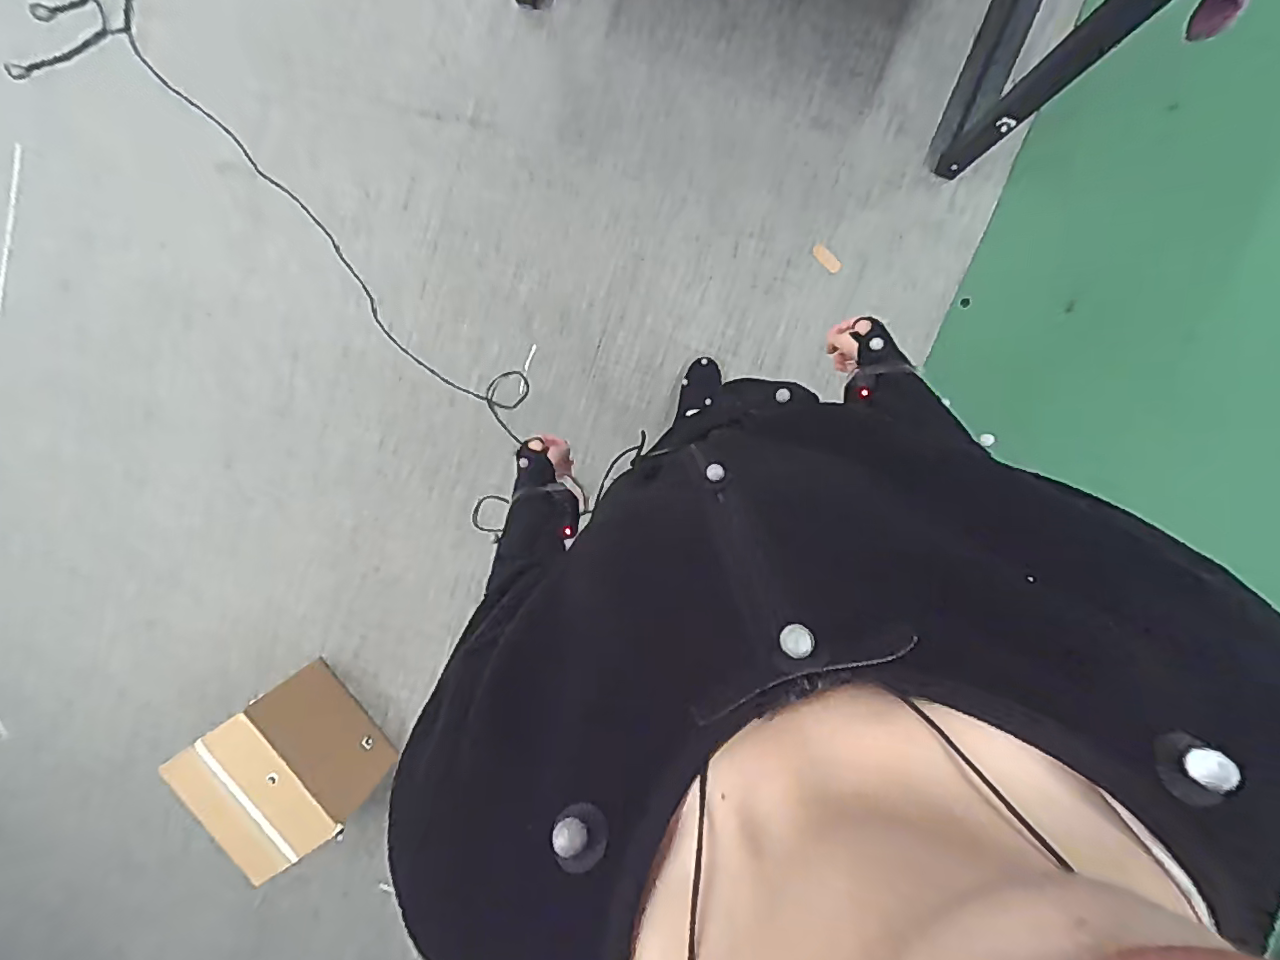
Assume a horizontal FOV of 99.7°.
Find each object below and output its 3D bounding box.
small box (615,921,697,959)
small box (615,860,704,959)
[{"bbox_3d":[0.023,1.055,1.096,0.168,0.176,0.179,12,98,2],"label":"small box"},{"bbox_3d":[0.045,1.031,1.257,0.179,0.176,0.168,10,97,3],"label":"small box"}]
